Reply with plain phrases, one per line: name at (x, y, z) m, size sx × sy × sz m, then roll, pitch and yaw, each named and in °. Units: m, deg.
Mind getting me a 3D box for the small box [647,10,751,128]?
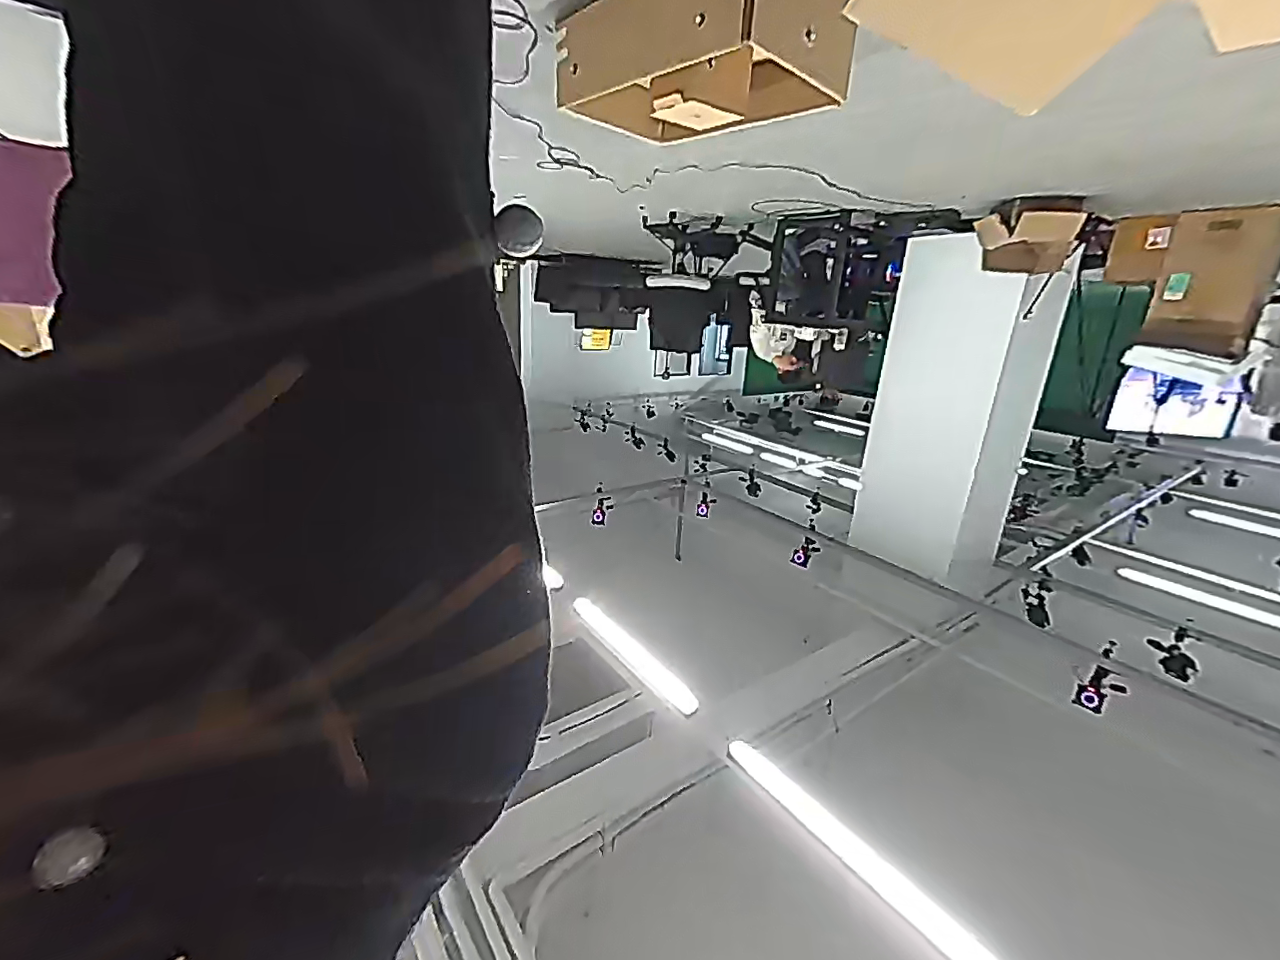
small box at (0.137, -0.954, 1.263) m, size 0.179 × 0.176 × 0.168 m, roll -11°, pitch -156°, yaw -36°
